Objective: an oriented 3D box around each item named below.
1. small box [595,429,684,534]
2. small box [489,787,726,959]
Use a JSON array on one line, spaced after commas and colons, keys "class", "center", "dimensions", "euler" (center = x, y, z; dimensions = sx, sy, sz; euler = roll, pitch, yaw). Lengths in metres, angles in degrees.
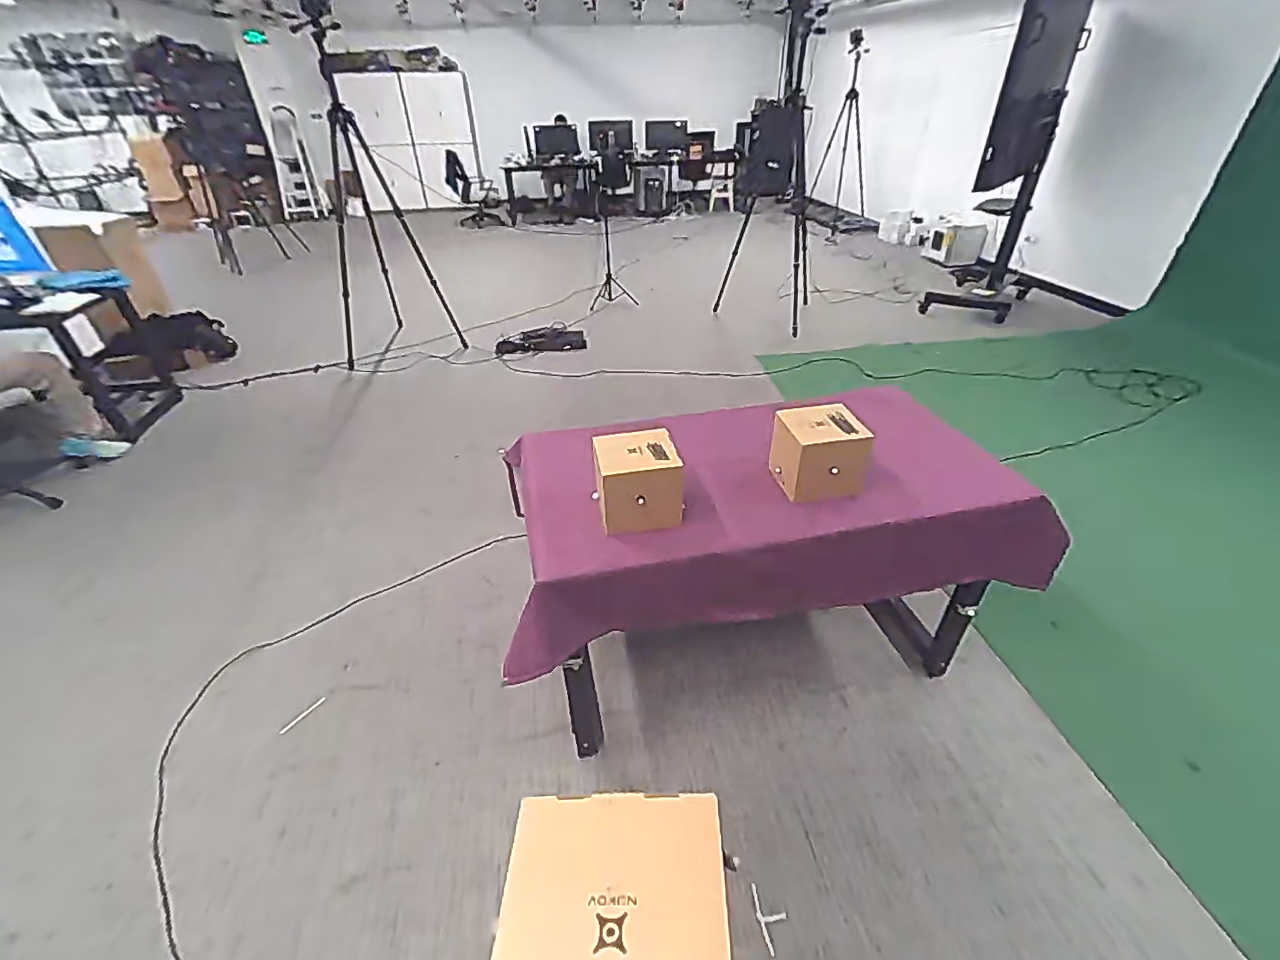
[{"class": "small box", "center": [-0.004, 0.003, 1.232], "dimensions": [0.179, 0.176, 0.168], "euler": [-8, 36, -8]}, {"class": "small box", "center": [-0.015, 0.377, 0.432], "dimensions": [0.168, 0.176, 0.179], "euler": [-3, 34, 3]}]
